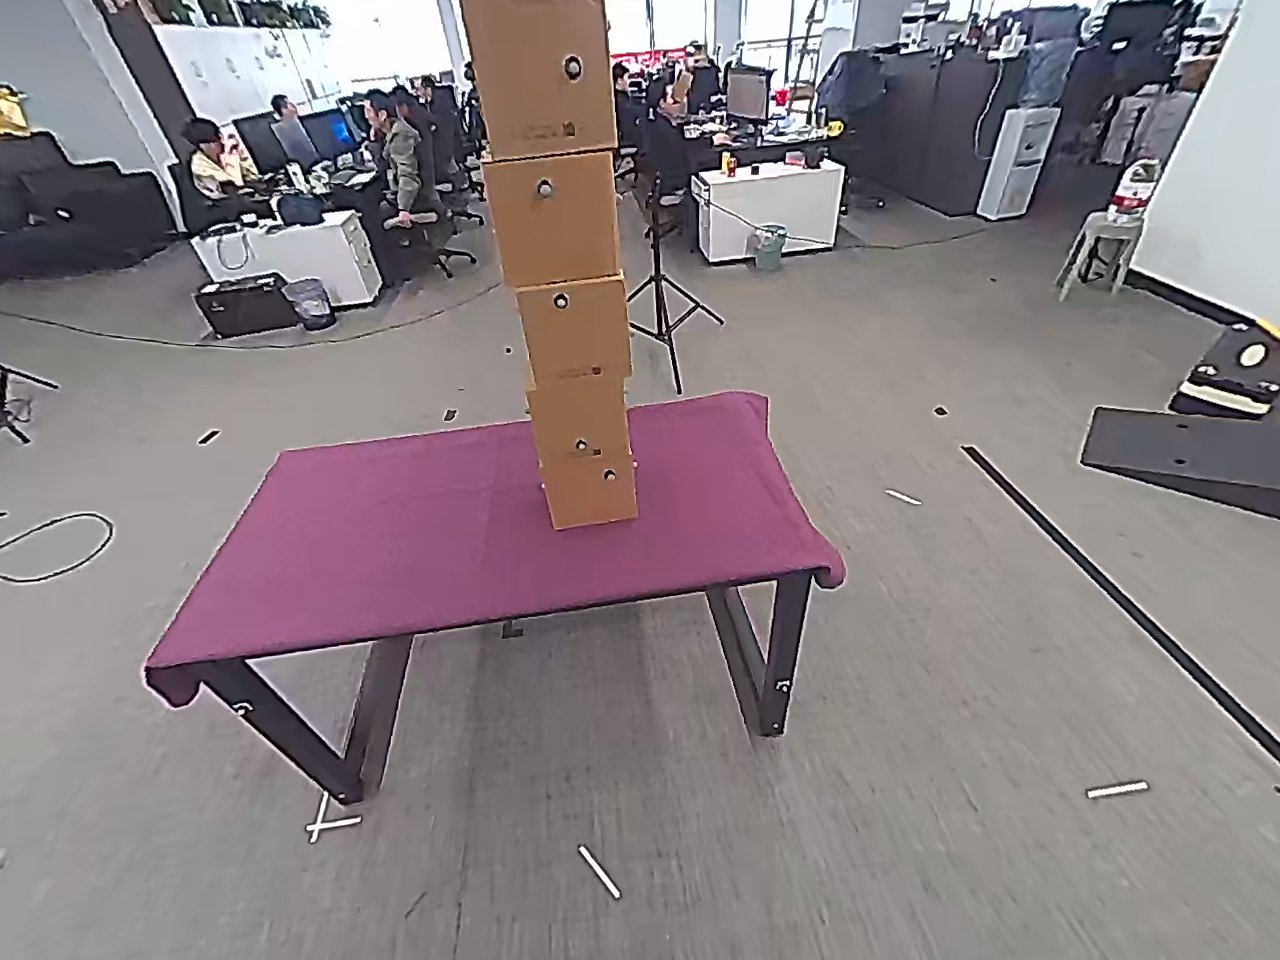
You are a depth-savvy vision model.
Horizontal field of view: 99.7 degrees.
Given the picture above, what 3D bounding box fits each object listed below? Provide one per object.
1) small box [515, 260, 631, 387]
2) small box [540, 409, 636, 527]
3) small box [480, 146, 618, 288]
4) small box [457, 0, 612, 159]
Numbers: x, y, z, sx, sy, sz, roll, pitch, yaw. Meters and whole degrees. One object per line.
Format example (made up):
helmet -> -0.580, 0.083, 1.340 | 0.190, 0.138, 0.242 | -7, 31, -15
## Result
small box -> -0.110, -0.277, 0.915 | 0.168, 0.176, 0.179 | -9, 39, -4
small box -> -0.105, -0.024, 1.122 | 0.179, 0.176, 0.168 | -9, 39, -3
small box -> -0.130, -0.408, 0.820 | 0.179, 0.176, 0.168 | -9, 40, -4
small box -> -0.133, -0.536, 0.720 | 0.168, 0.176, 0.179 | -9, 39, -6
